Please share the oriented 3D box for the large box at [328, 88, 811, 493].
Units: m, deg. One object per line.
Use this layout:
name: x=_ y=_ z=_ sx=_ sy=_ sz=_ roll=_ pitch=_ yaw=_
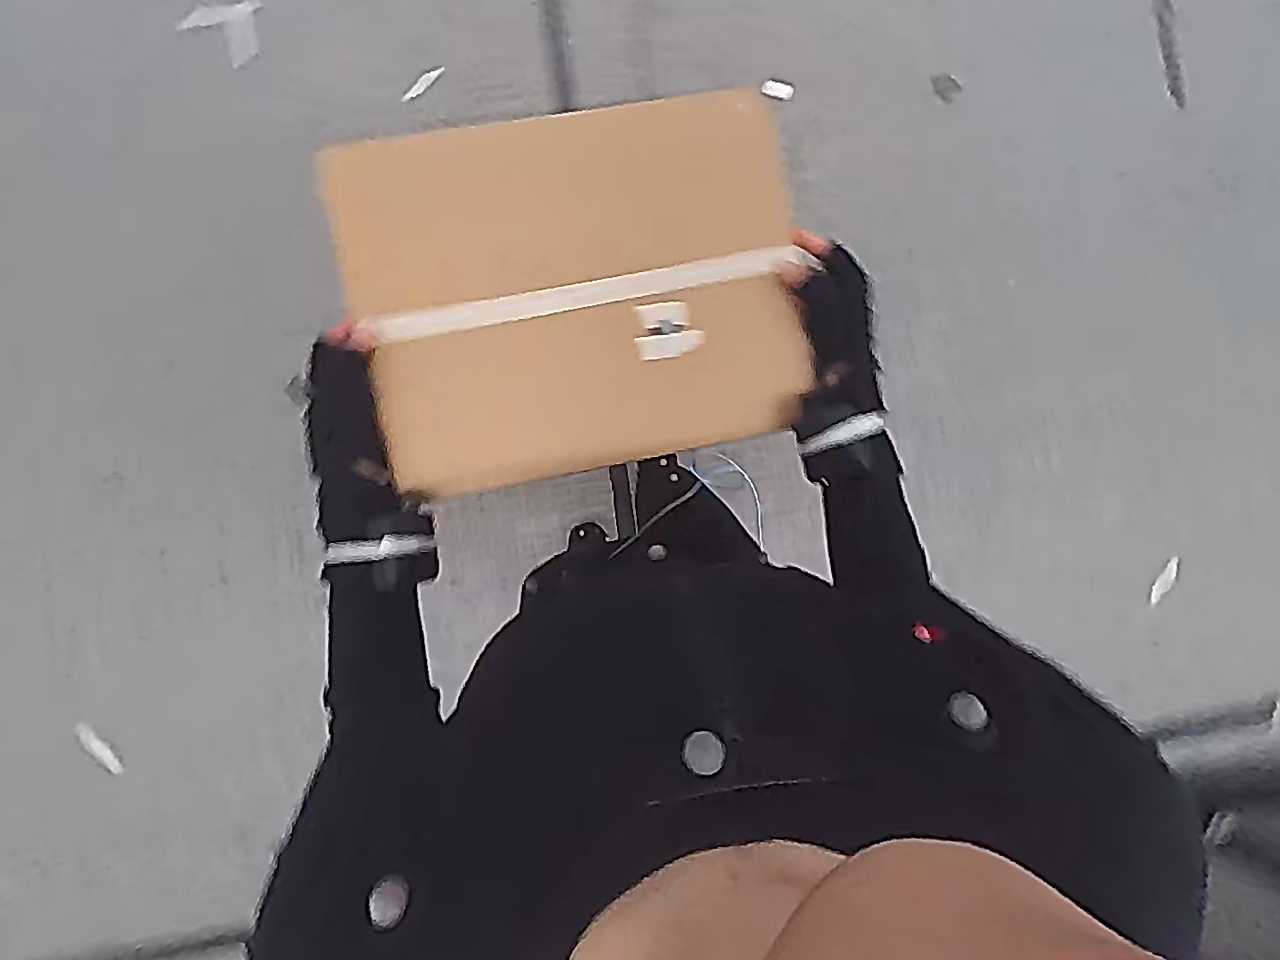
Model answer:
large box: x=-0.070 y=-0.189 z=0.651 sx=0.408 sy=0.320 sz=0.320 roll=-12 pitch=97 yaw=-6
